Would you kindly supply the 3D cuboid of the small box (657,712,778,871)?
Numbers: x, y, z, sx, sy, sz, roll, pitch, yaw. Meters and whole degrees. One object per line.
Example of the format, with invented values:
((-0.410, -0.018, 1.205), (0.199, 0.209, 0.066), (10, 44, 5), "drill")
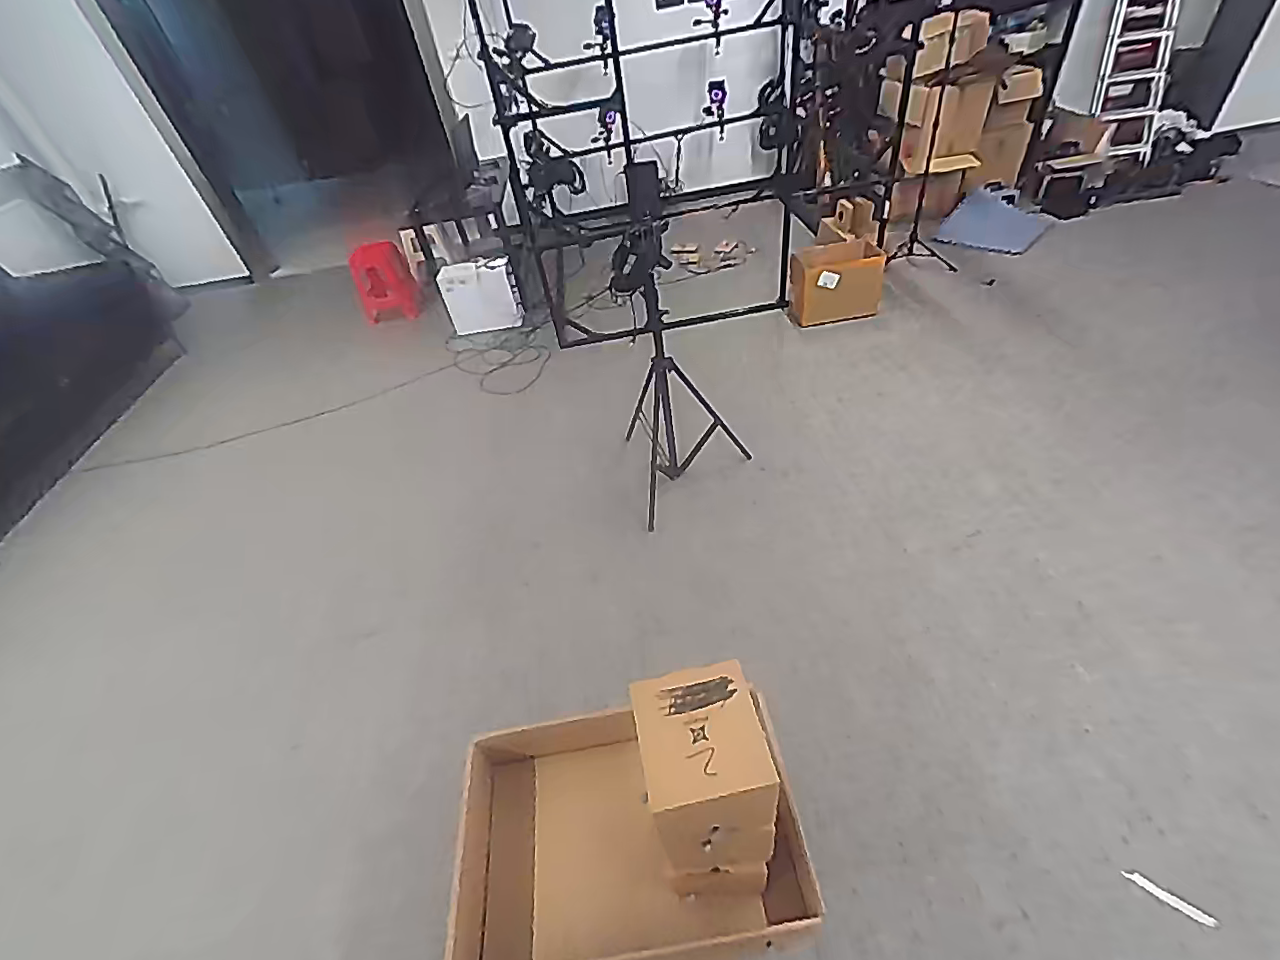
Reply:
((0.122, 0.512, 0.889), (0.168, 0.176, 0.179), (-8, 41, 3), "small box")

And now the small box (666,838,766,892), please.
((0.136, 0.638, 0.993), (0.168, 0.176, 0.179), (-5, 42, 5), "small box")
